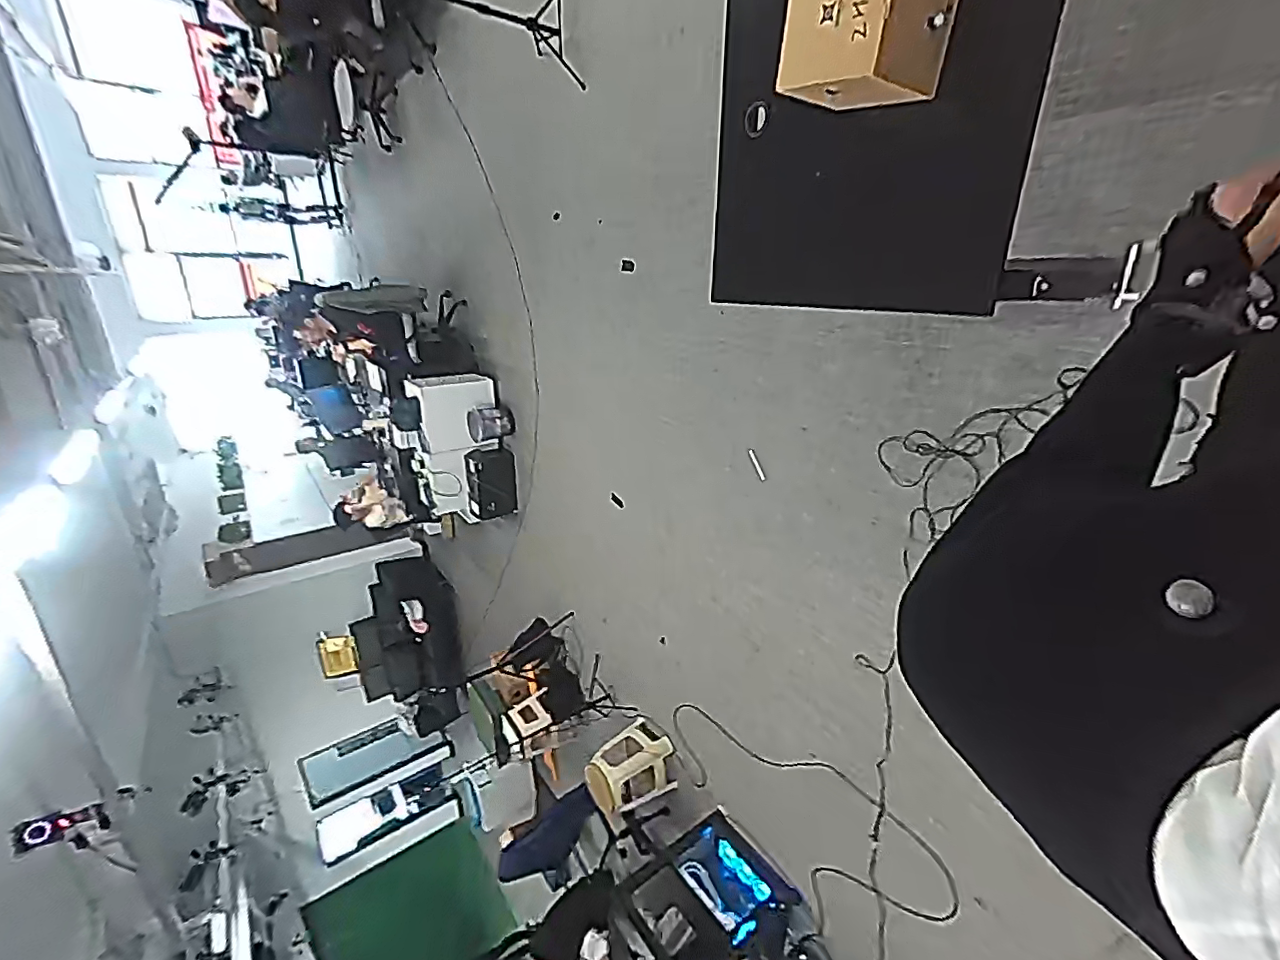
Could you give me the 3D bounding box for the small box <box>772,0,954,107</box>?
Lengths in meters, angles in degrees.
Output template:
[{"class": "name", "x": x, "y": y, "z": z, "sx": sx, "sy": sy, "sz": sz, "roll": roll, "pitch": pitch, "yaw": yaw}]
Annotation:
[{"class": "small box", "x": 0.328, "y": -0.669, "z": 0.799, "sx": 0.179, "sy": 0.176, "sz": 0.168, "roll": 33, "pitch": 128, "yaw": 45}]
